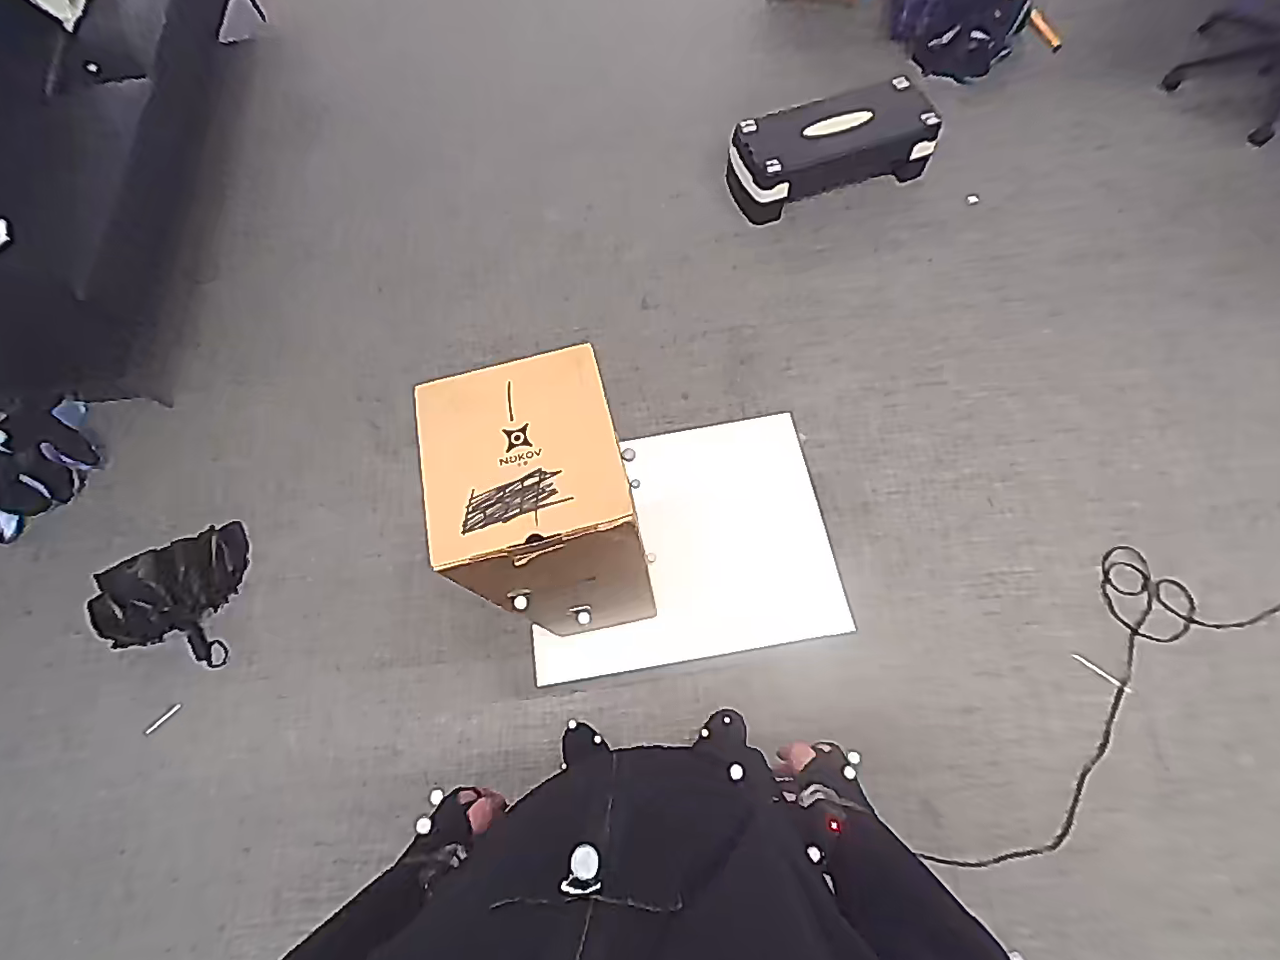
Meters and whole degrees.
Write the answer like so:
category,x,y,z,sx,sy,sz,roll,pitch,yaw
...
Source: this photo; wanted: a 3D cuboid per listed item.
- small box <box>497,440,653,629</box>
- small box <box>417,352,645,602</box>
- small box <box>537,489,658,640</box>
category,x,y,z,sx,sy,sz,roll,pitch,yaw
small box,-0.083,0.074,0.679,0.168,0.176,0.179,-14,67,-1
small box,-0.096,0.011,0.528,0.168,0.176,0.179,-14,65,-1
small box,-0.068,0.136,0.831,0.168,0.176,0.179,-12,68,0
